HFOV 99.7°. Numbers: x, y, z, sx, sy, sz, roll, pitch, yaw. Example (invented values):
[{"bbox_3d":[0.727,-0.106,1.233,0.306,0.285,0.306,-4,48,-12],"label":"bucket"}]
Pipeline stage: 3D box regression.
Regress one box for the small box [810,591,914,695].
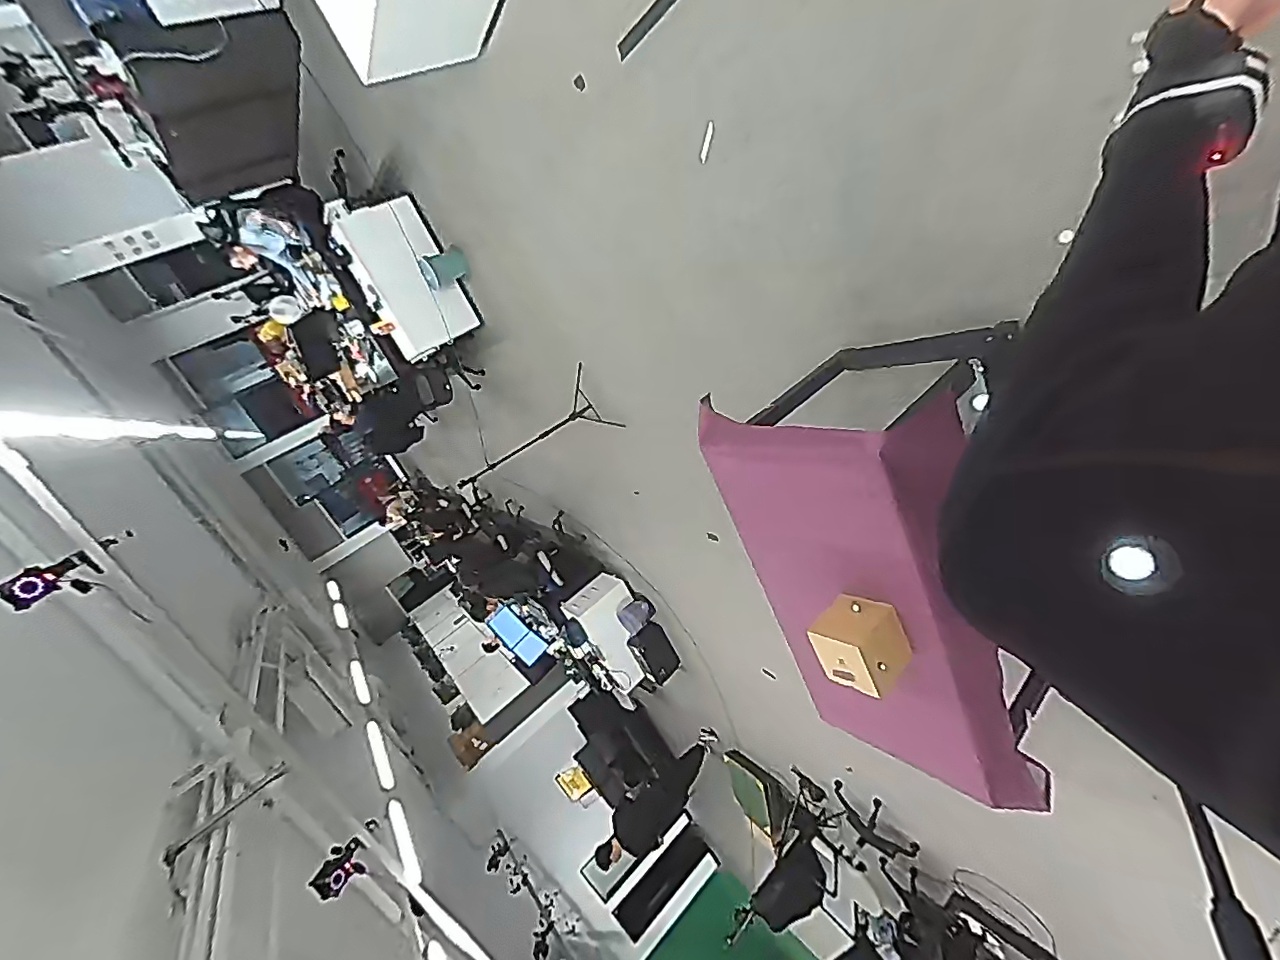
[{"bbox_3d":[0.595,0.427,1.440,0.168,0.176,0.179,1,123,59],"label":"small box"}]
